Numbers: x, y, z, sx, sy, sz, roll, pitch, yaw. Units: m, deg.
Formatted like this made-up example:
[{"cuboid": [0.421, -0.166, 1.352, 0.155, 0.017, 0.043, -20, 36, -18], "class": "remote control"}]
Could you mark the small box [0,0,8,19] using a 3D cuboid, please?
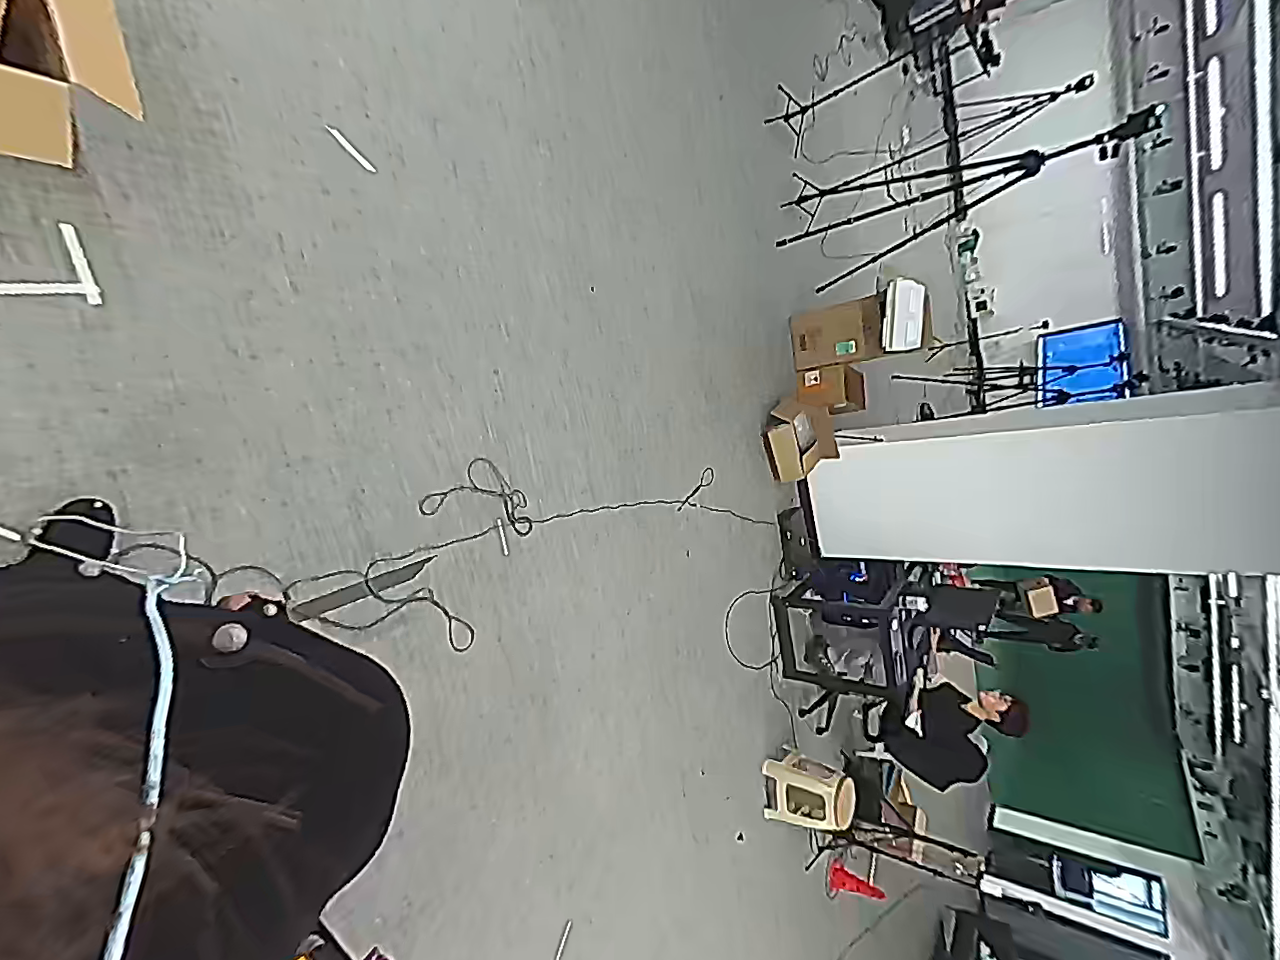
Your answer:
[{"cuboid": [-1.185, -0.869, 0.875, 0.179, 0.176, 0.168, -18, 103, -52], "class": "small box"}]
